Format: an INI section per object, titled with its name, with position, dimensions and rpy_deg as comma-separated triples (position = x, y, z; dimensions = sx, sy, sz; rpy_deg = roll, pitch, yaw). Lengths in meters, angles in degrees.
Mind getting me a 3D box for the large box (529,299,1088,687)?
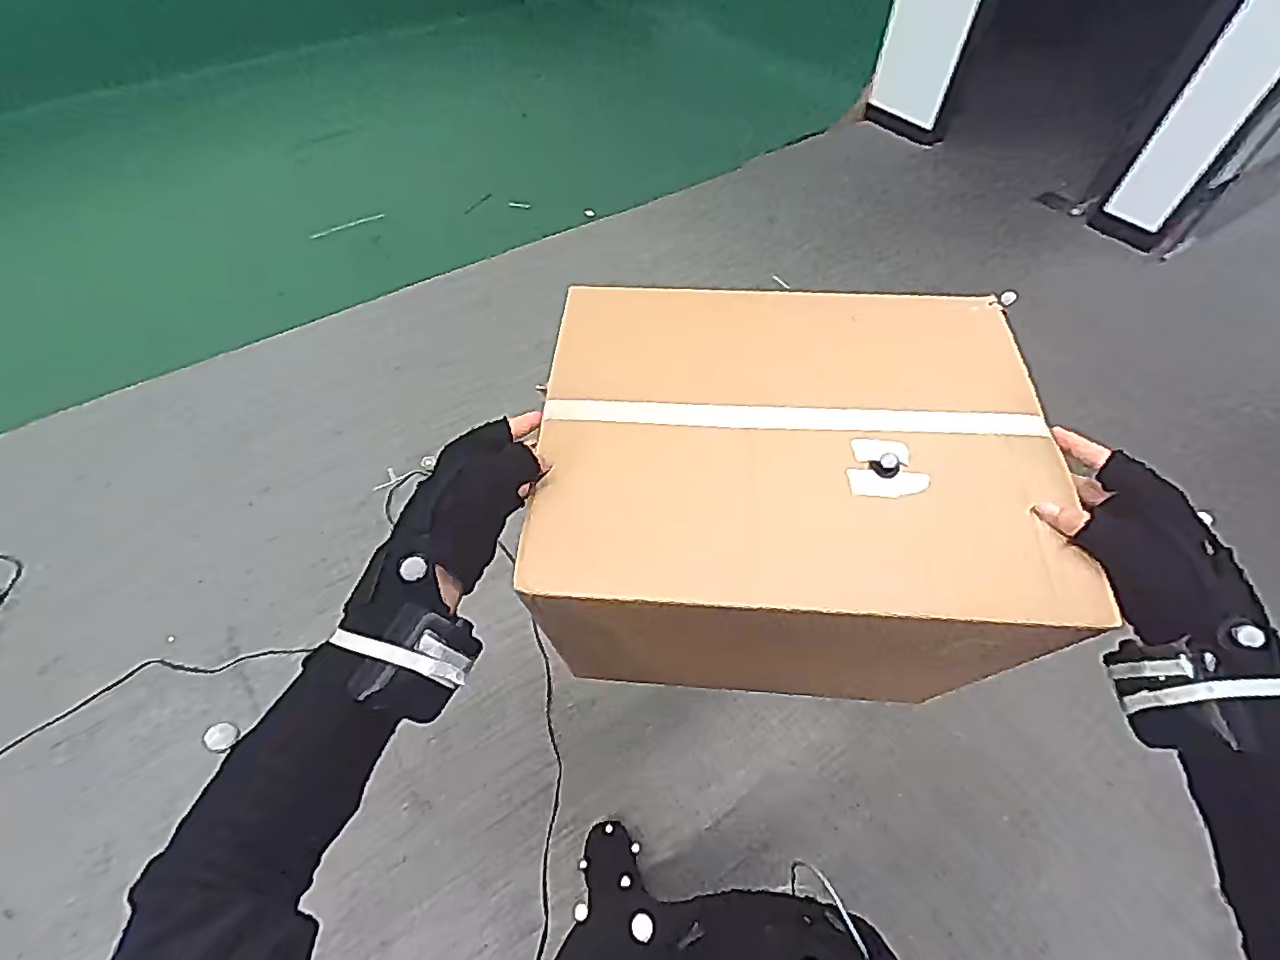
[large box]
position = 0.122, 0.031, 0.584
dimensions = 0.408, 0.320, 0.320
rpy_deg = 2, 60, 2
